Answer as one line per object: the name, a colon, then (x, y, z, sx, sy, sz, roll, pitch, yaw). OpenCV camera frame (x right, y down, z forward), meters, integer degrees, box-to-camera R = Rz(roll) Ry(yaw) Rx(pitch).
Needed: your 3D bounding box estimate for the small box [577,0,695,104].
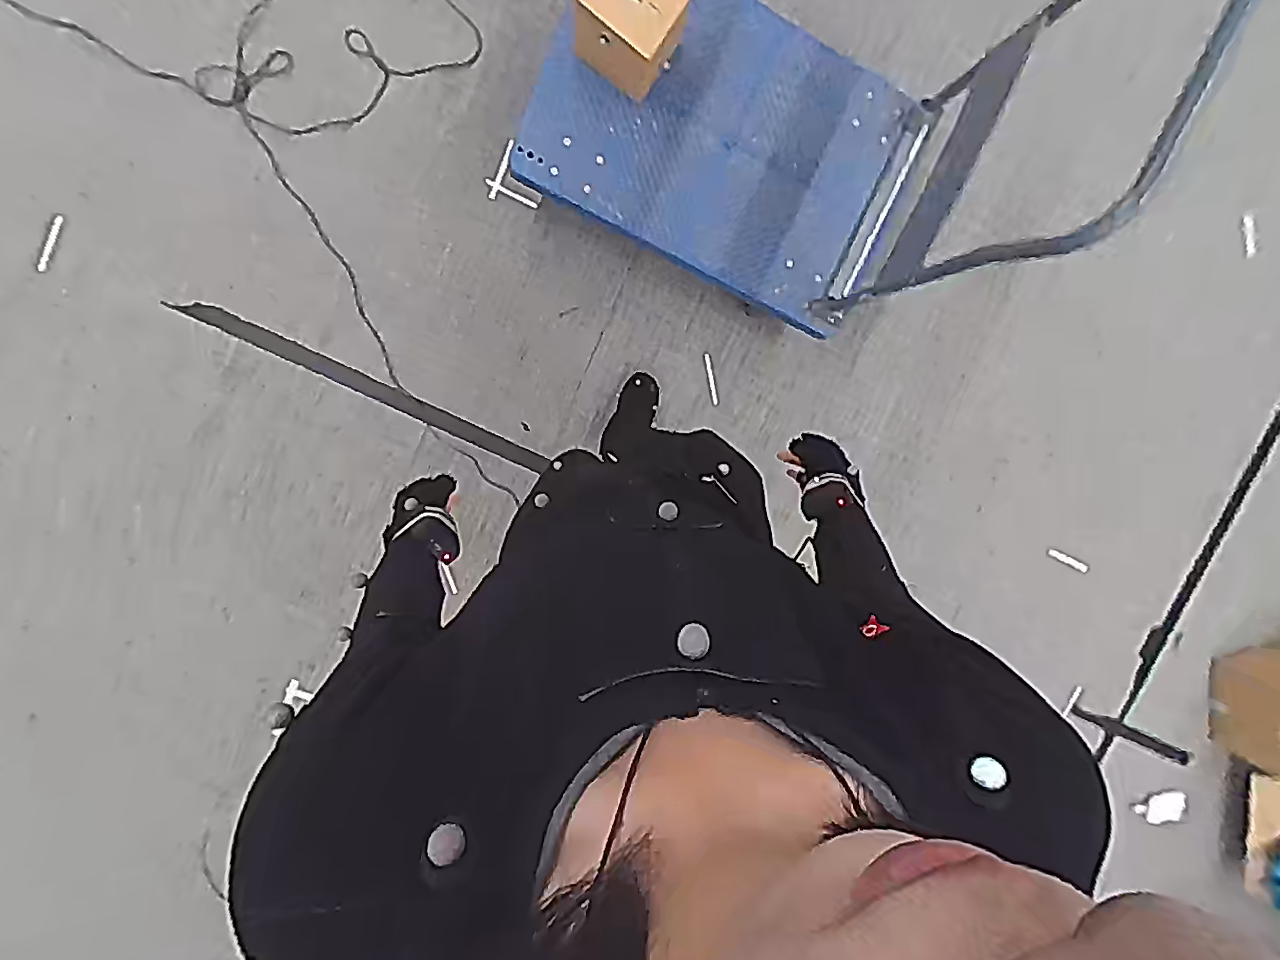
small box: (-0.017, -0.931, 1.112, 0.179, 0.176, 0.168, 34, 93, -11)
